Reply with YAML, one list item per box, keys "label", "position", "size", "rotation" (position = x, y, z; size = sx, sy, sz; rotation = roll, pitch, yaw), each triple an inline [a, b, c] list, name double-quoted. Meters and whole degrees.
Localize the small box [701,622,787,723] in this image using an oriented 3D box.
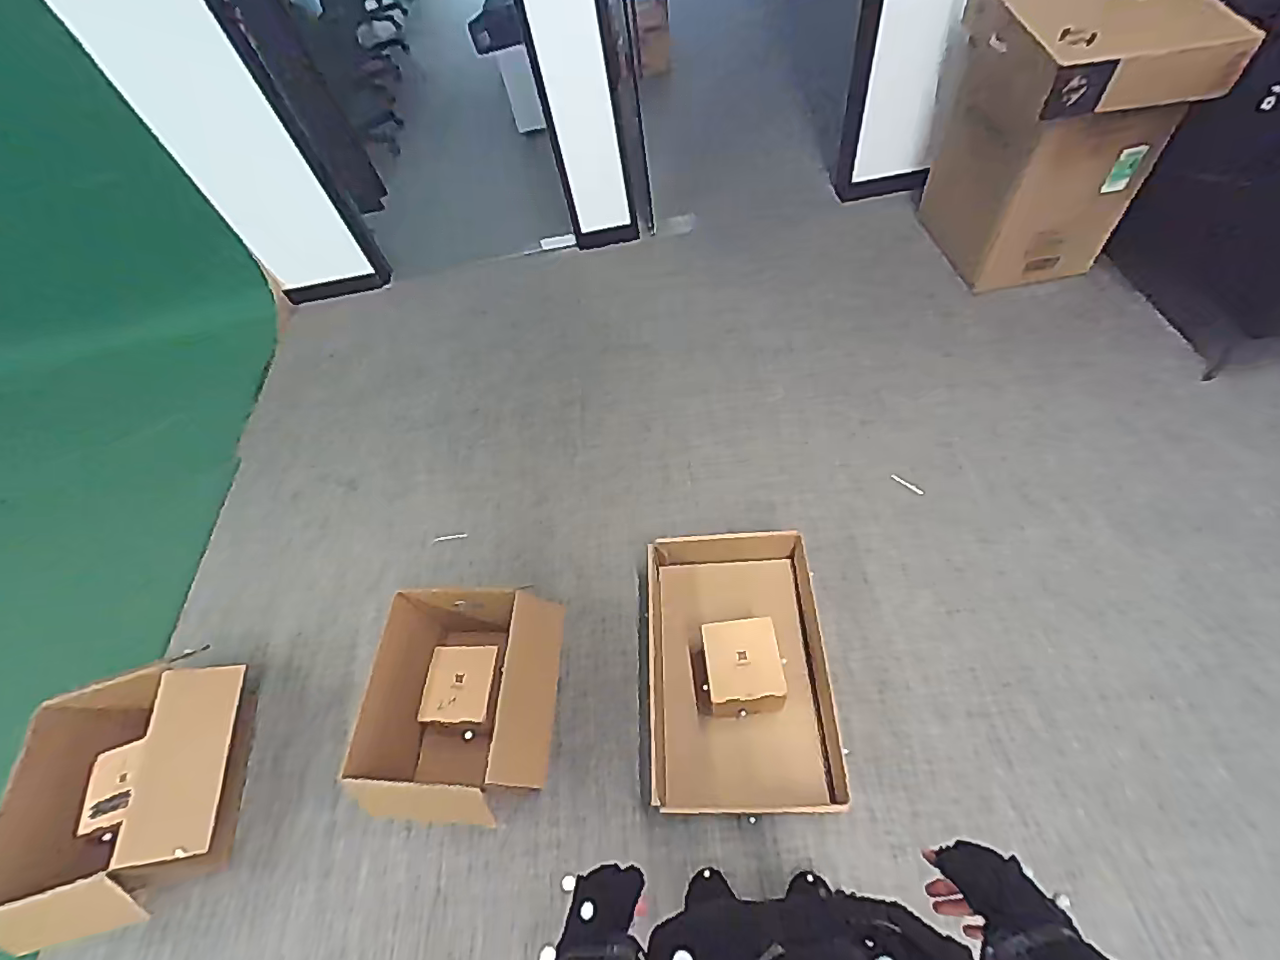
- label: "small box"
  position: [0.234, 0.451, 1.262]
  size: [0.168, 0.176, 0.179]
  rotation: [-8, 55, 3]
